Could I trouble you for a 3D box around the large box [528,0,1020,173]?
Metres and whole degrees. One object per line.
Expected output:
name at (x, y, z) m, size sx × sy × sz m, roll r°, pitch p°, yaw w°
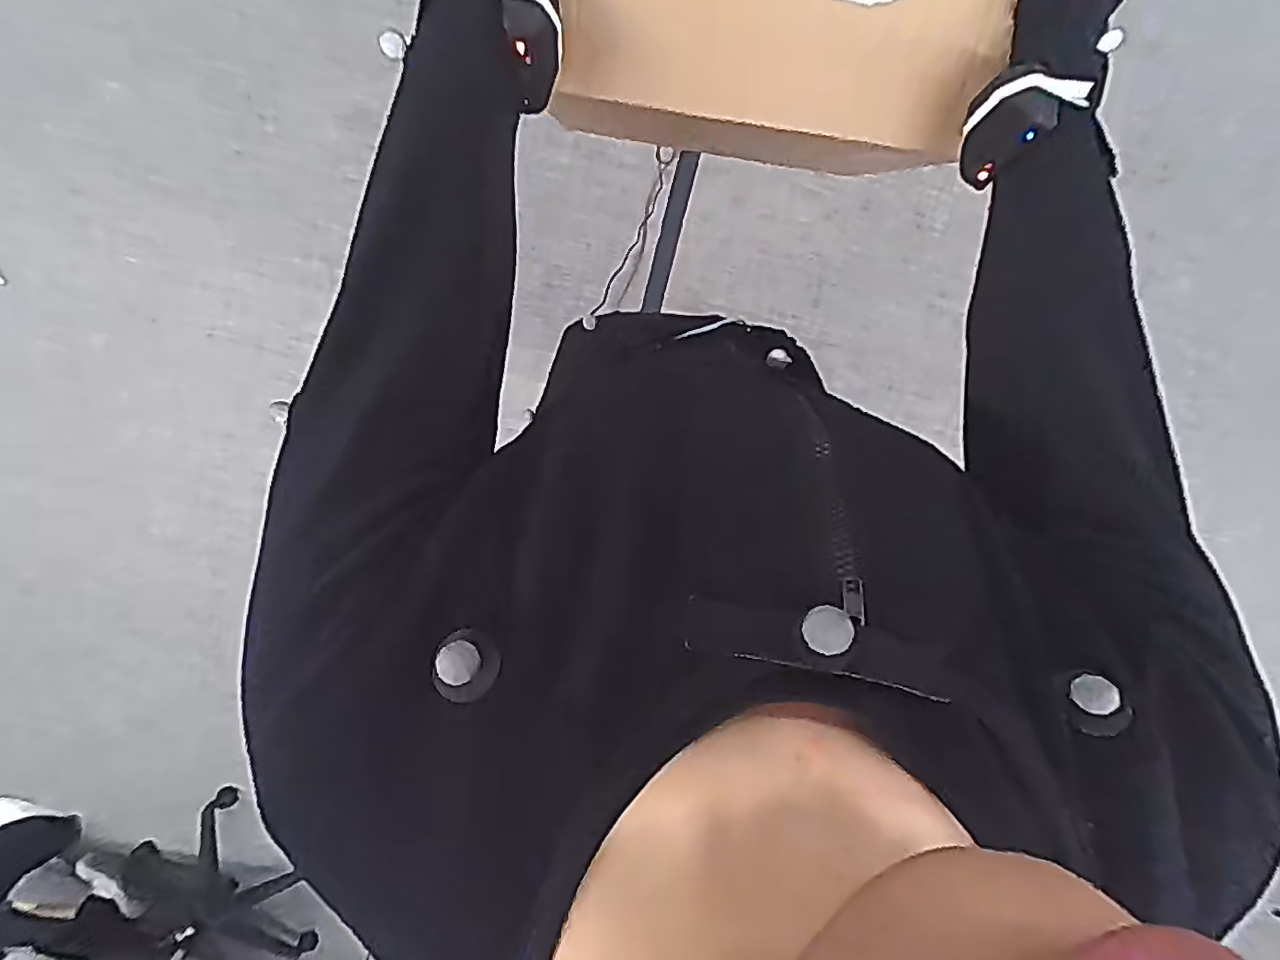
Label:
large box at (0.113, -0.512, 0.538) m, size 0.408 × 0.320 × 0.320 m, roll 6°, pitch 118°, yaw -5°
